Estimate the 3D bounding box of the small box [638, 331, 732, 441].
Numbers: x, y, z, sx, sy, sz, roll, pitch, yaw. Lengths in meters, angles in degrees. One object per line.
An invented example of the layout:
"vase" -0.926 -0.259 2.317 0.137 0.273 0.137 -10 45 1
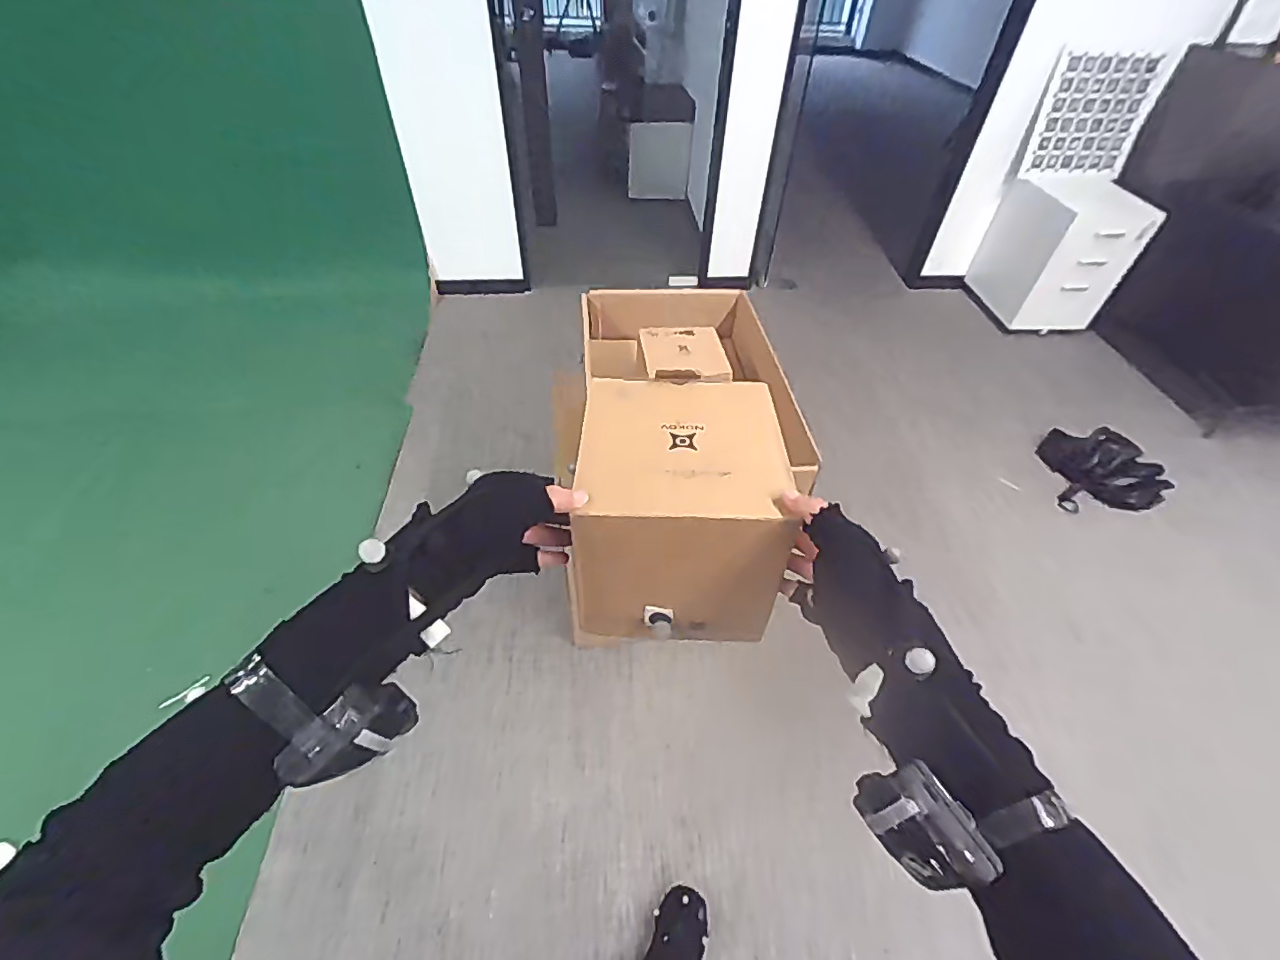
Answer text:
"small box" 0.087 -0.194 1.143 0.168 0.176 0.179 -2 47 -6
